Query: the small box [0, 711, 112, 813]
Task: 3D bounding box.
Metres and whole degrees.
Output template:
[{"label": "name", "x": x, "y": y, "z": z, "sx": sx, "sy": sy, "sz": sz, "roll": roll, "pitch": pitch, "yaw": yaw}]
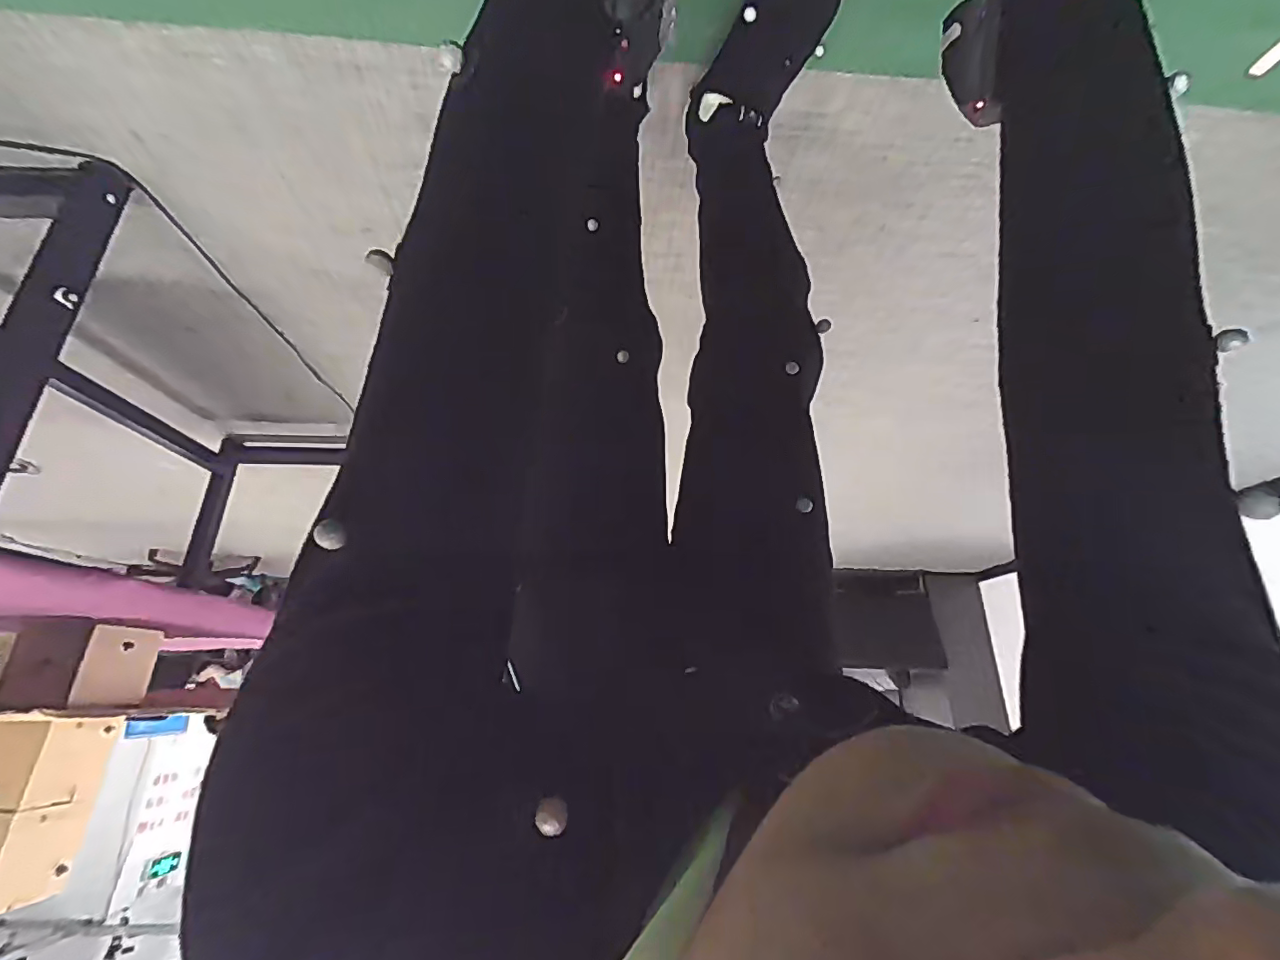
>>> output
[{"label": "small box", "x": -1.233, "y": 0.562, "z": 1.093, "sx": 0.179, "sy": 0.176, "sz": 0.168, "roll": 1, "pitch": 157, "yaw": 0}]
